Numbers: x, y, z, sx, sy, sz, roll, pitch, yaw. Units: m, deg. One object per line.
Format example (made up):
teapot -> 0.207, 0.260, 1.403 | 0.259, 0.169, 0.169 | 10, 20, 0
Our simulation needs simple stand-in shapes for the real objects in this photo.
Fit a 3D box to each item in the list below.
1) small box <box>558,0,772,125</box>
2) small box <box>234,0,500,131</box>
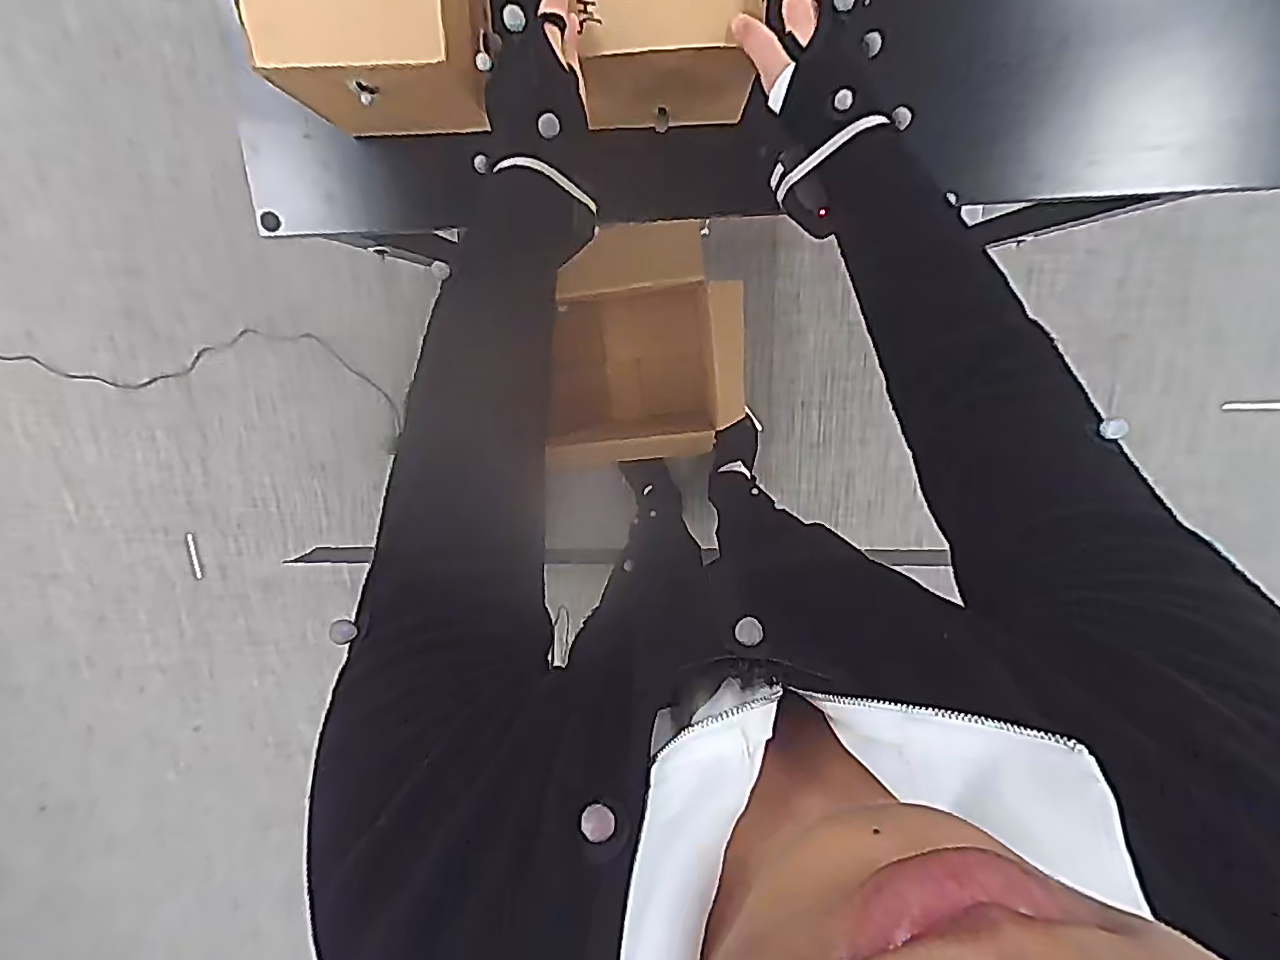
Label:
small box -> 0.019, -0.452, 0.500 | 0.179, 0.176, 0.168 | -2, 105, 2
small box -> -0.246, -0.449, 0.509 | 0.179, 0.176, 0.168 | -1, 106, 1
